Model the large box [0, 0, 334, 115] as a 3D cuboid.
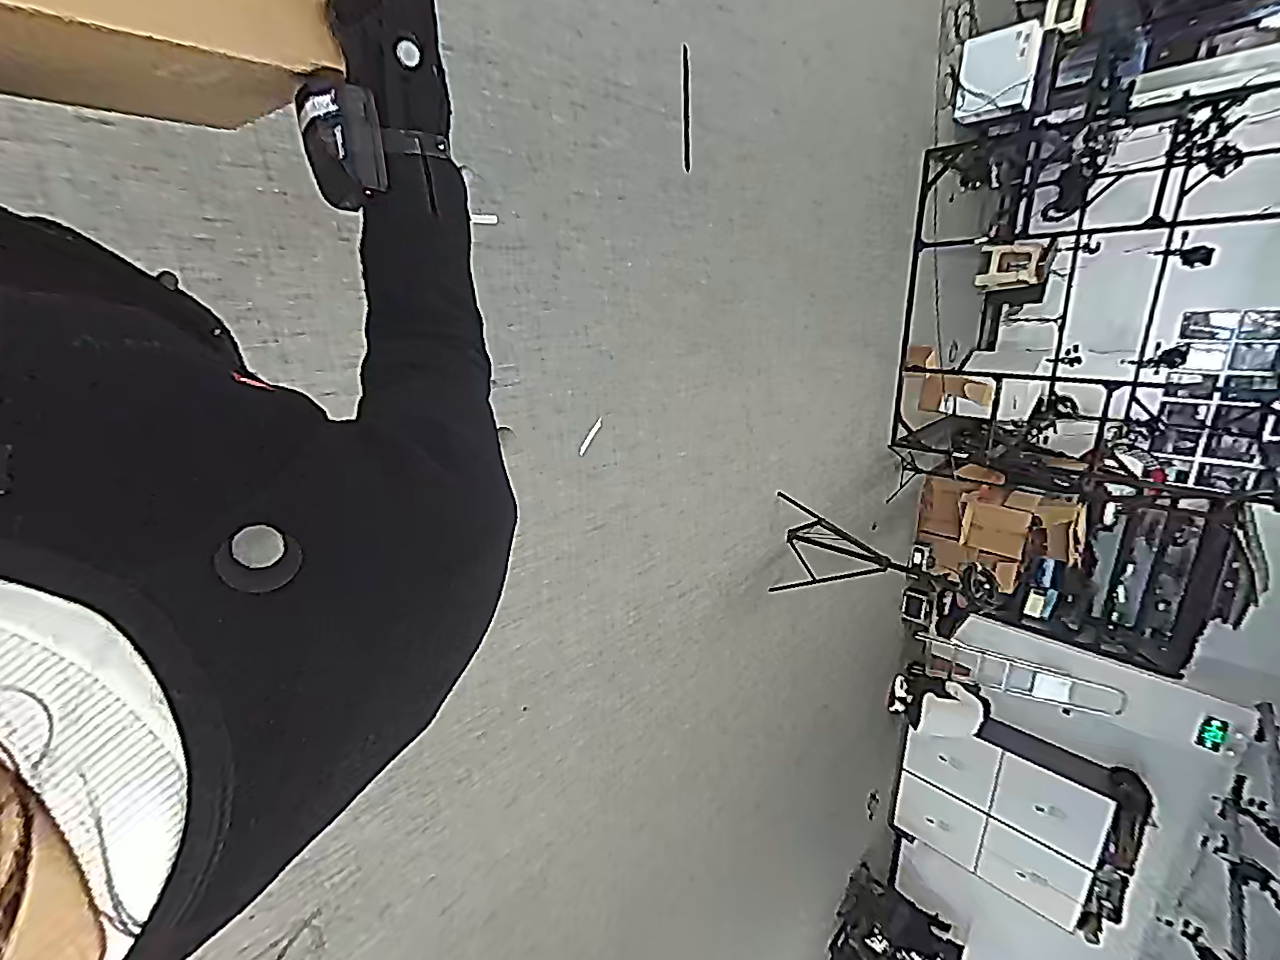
[{"bbox_3d":[-0.433,-0.396,0.245,0.408,0.320,0.320,-21,124,-43],"label":"large box"}]
